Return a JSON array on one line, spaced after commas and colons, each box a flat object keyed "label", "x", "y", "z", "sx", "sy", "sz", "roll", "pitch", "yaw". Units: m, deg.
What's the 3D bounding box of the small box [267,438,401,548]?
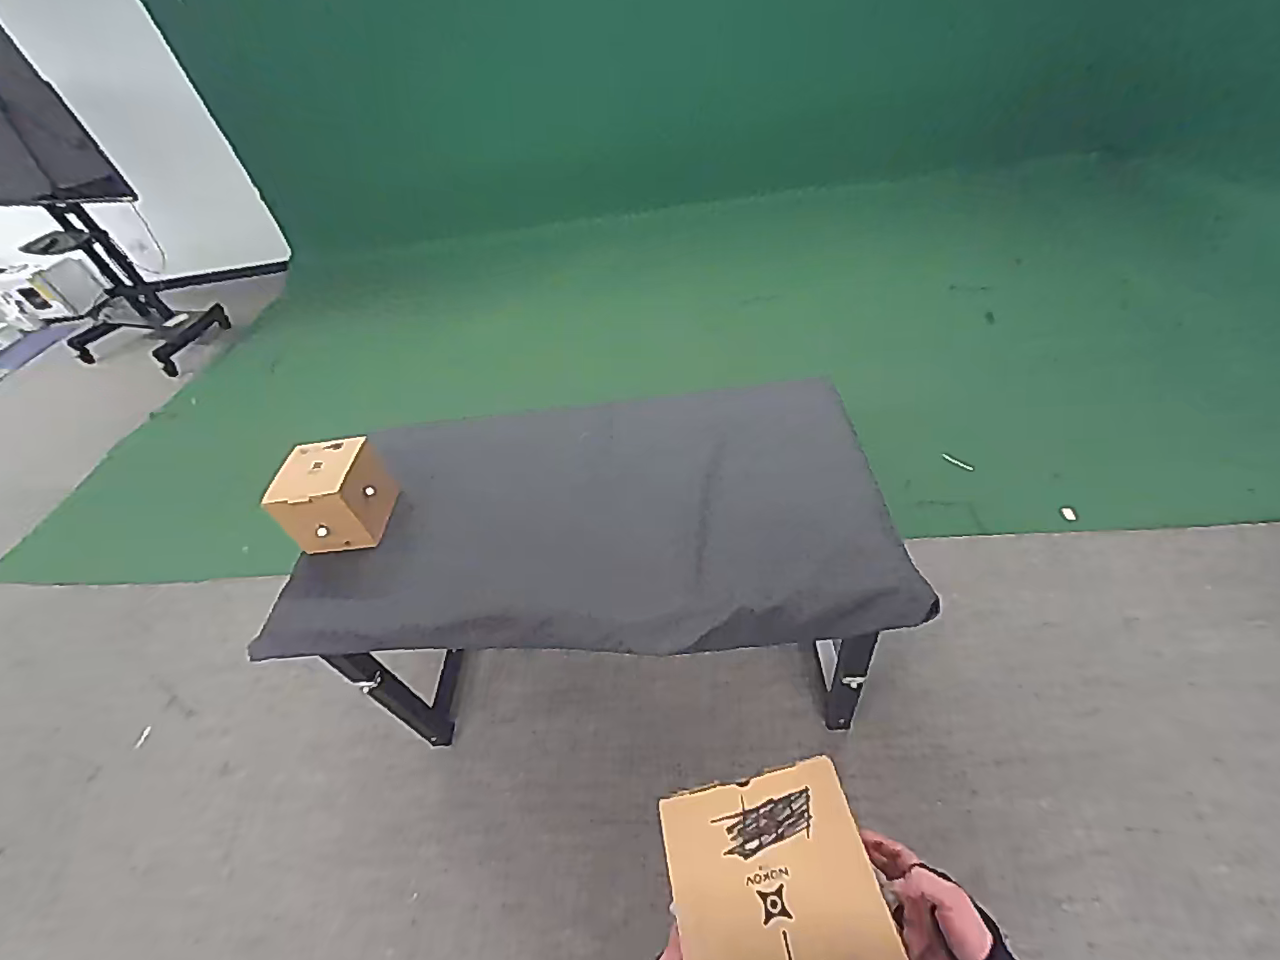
[{"label": "small box", "x": -0.648, "y": 0.034, "z": 1.174, "sx": 0.168, "sy": 0.176, "sz": 0.179, "roll": -6, "pitch": 46, "yaw": 4}]
